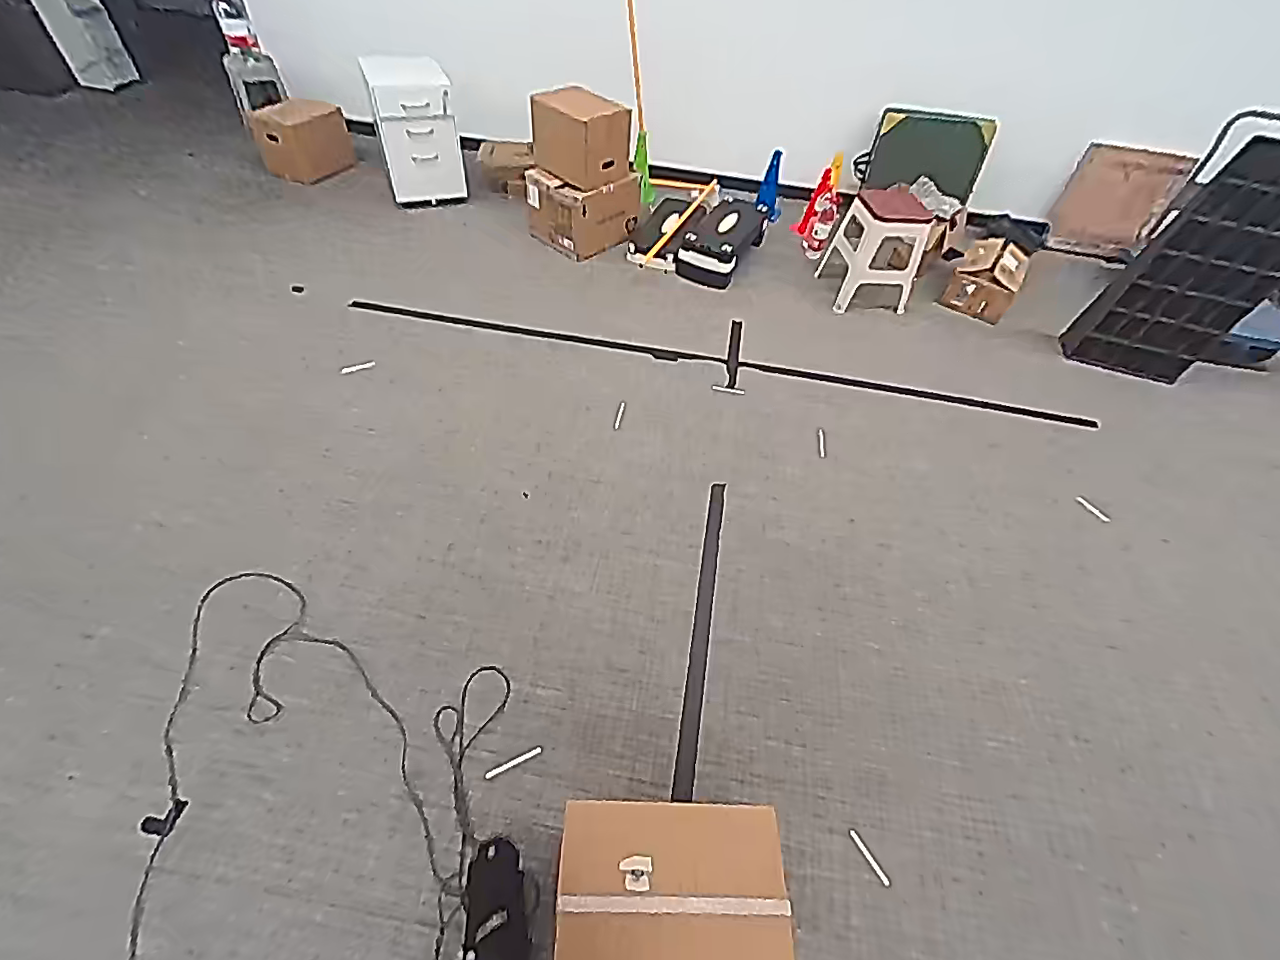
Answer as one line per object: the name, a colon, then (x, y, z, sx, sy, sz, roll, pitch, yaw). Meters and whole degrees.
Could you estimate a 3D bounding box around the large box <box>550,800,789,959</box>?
large box: (0.043, 0.830, 1.056, 0.408, 0.320, 0.320, 3, 50, -3)
